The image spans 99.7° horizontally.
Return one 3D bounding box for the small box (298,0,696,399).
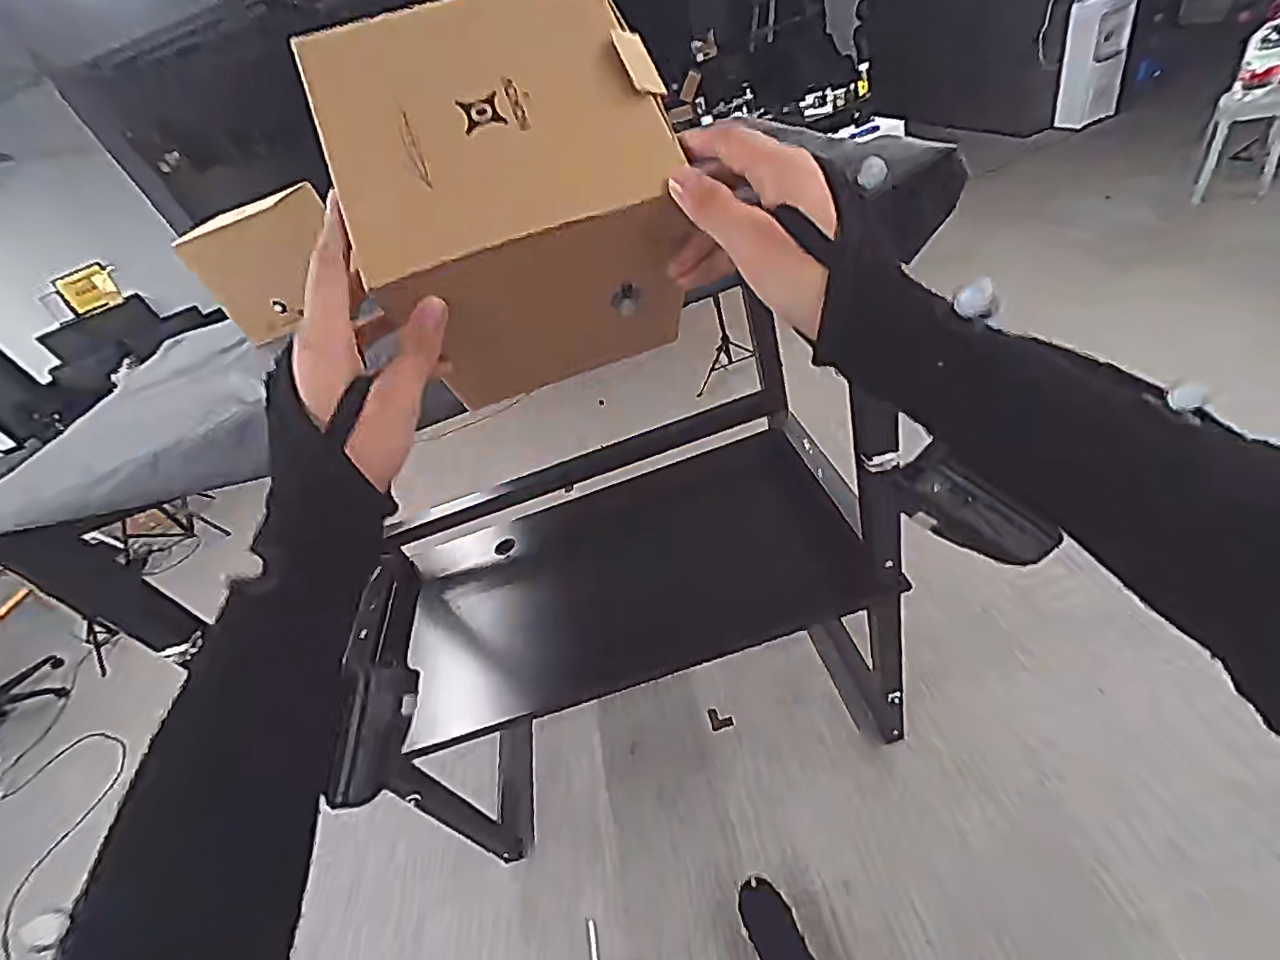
[{"bbox_3d":[-0.079,-0.178,0.362,0.179,0.176,0.168,-20,76,-5],"label":"small box"}]
